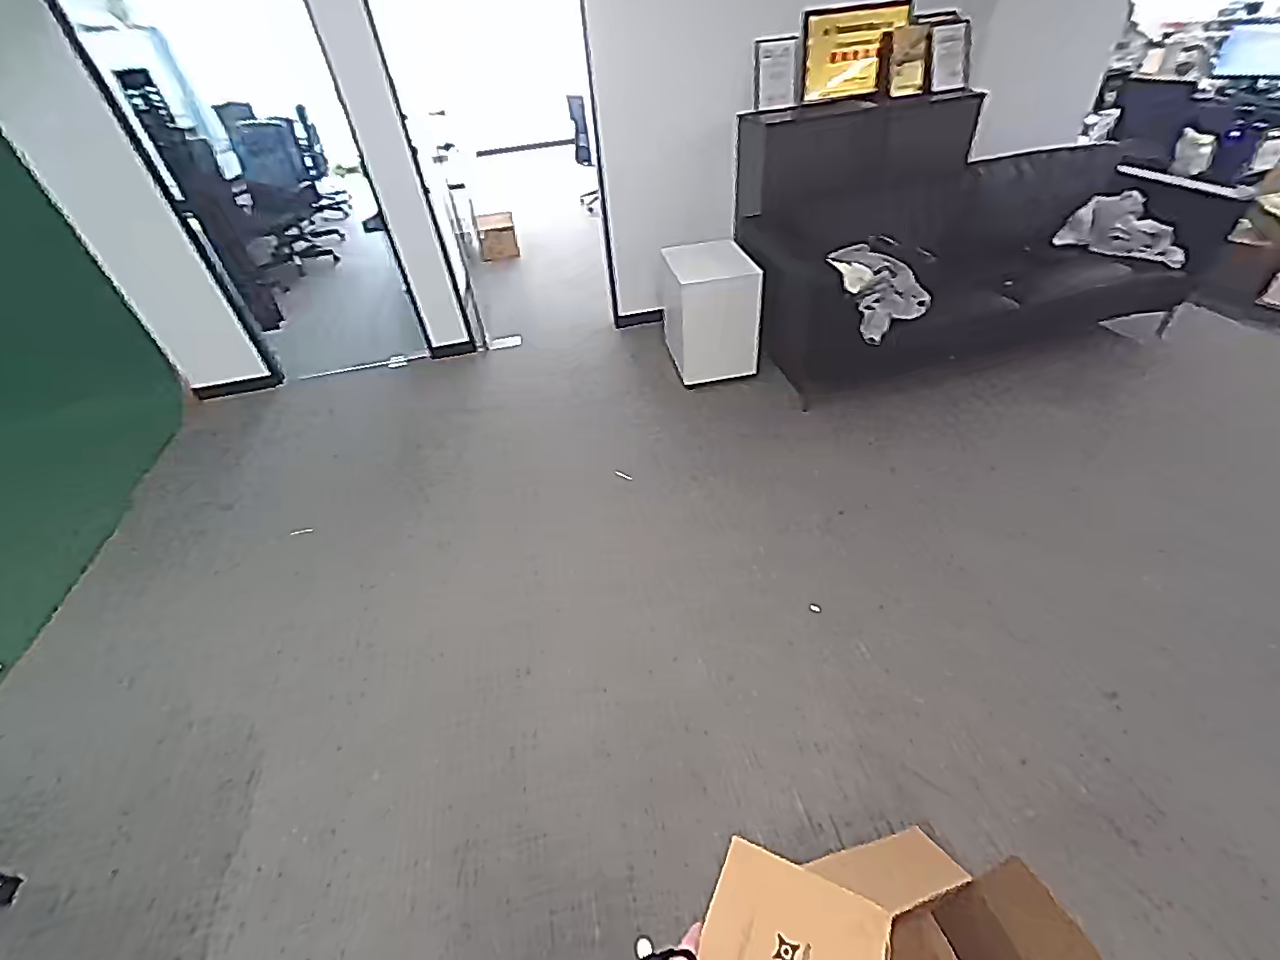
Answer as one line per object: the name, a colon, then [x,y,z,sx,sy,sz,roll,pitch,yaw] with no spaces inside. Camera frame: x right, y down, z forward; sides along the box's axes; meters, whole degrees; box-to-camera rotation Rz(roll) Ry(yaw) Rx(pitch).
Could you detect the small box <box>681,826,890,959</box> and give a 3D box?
small box: [0.151,0.530,0.580,0.179,0.176,0.168,12,32,26]
